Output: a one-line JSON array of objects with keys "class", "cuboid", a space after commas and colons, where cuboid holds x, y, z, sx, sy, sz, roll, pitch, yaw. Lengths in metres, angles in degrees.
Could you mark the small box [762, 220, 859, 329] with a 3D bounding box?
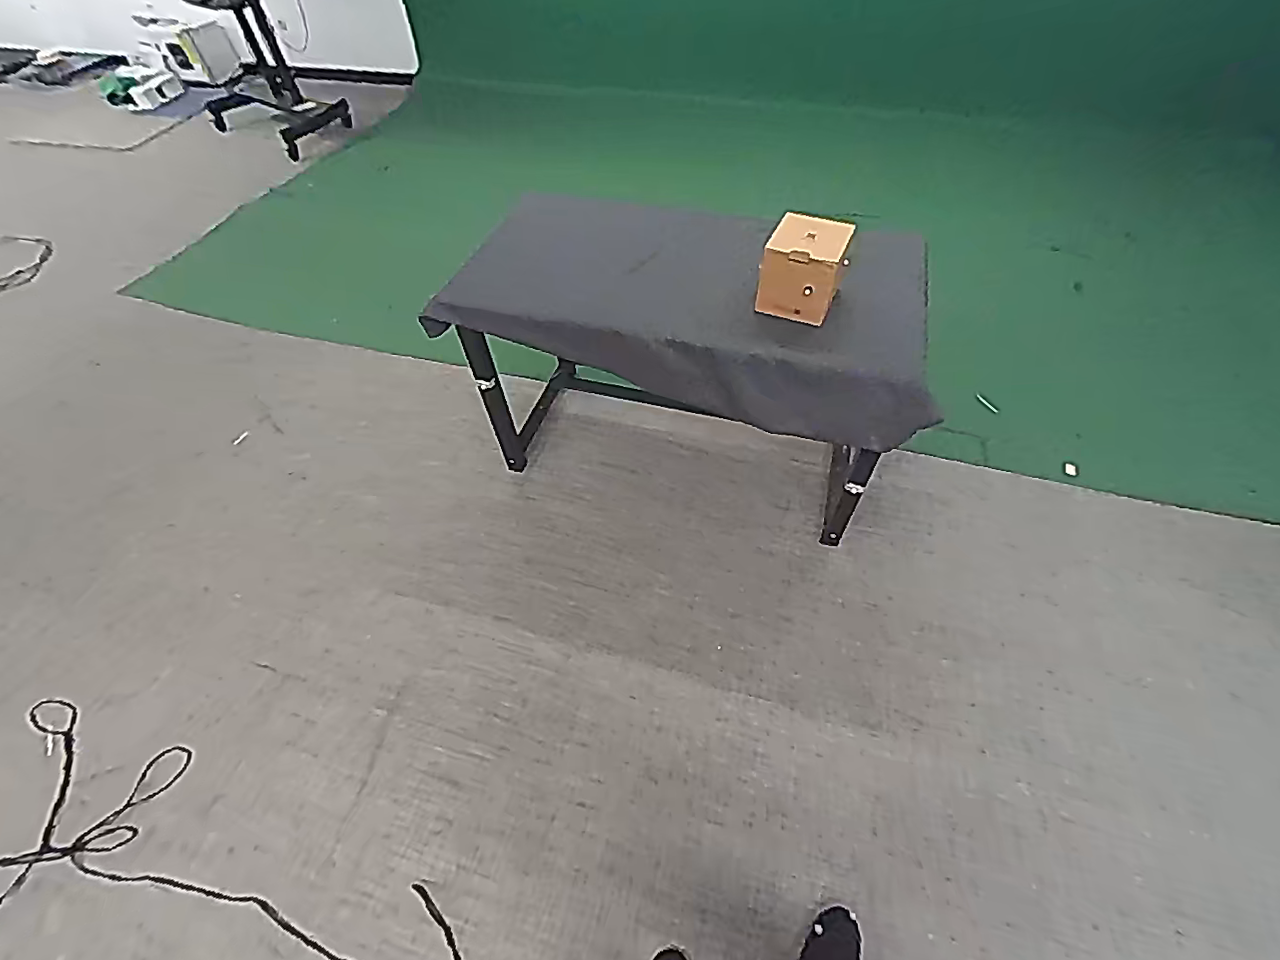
[{"class": "small box", "cuboid": [0.402, -0.491, 1.299, 0.168, 0.176, 0.179, 21, 55, 16]}]
